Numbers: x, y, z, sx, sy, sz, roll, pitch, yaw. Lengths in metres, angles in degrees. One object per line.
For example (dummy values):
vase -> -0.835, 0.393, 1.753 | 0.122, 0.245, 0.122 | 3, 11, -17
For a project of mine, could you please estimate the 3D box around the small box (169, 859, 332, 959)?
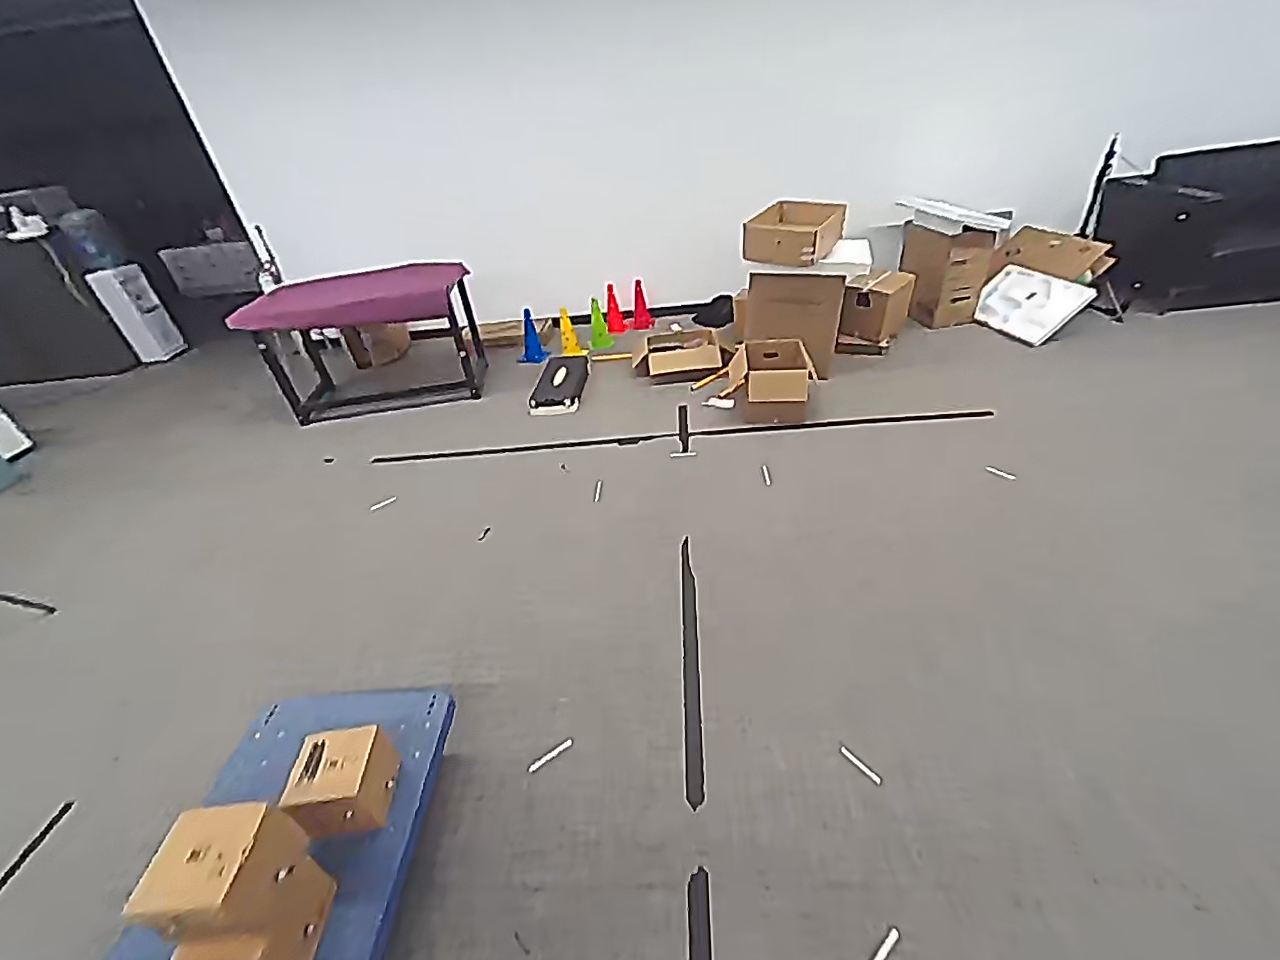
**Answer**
small box -> -0.756, 0.882, 1.069 | 0.179, 0.176, 0.168 | -6, 35, 0

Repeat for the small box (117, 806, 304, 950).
small box -> -0.772, 0.733, 0.996 | 0.179, 0.176, 0.168 | -6, 35, 1
